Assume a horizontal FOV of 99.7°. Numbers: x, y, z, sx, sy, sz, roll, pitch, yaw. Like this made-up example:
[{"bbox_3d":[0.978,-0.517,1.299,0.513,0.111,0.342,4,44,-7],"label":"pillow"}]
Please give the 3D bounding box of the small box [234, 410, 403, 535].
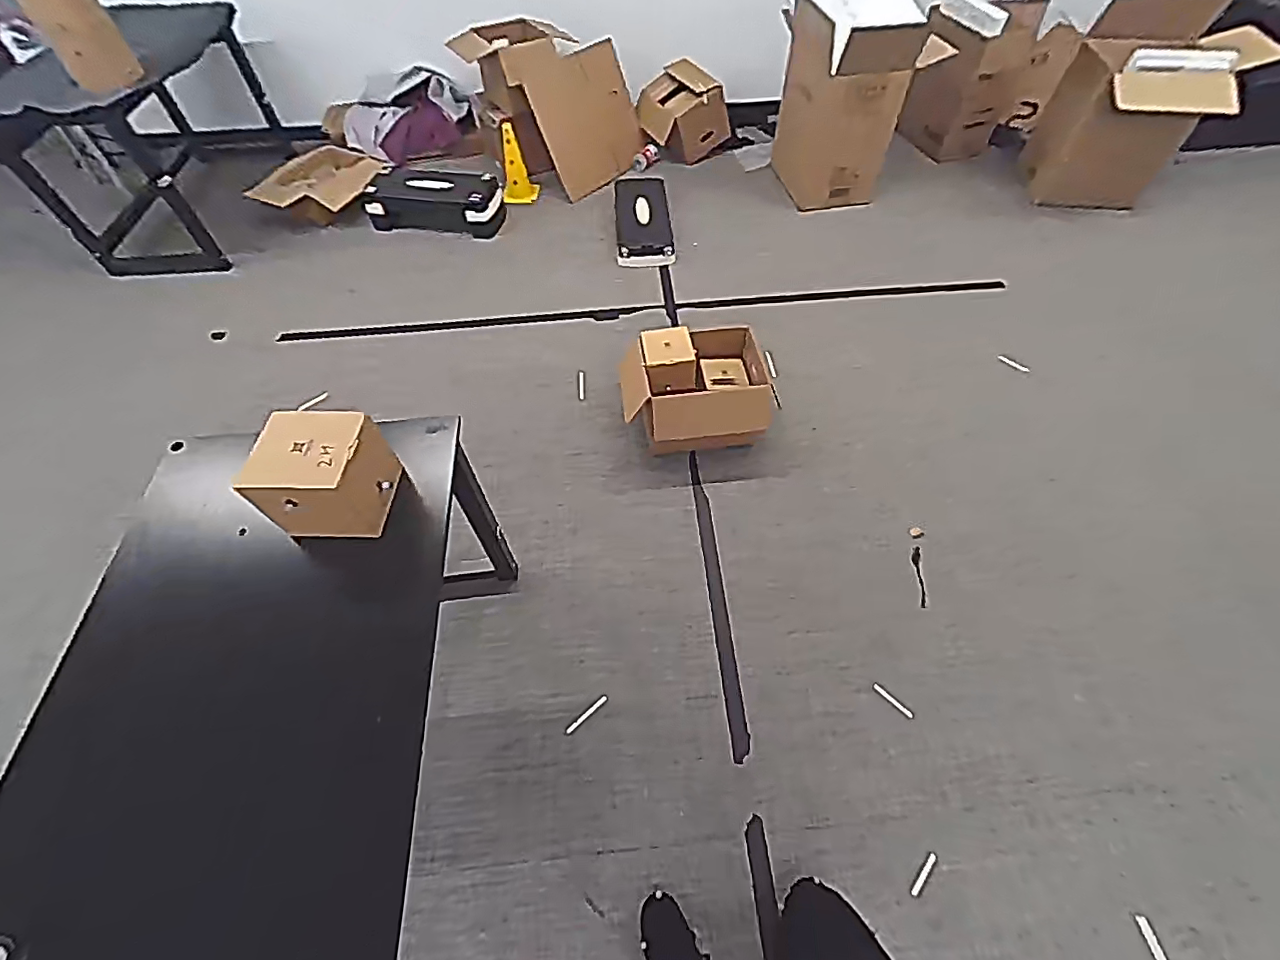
[{"bbox_3d":[-0.564,-0.010,0.977,0.179,0.176,0.168,1,57,2],"label":"small box"}]
